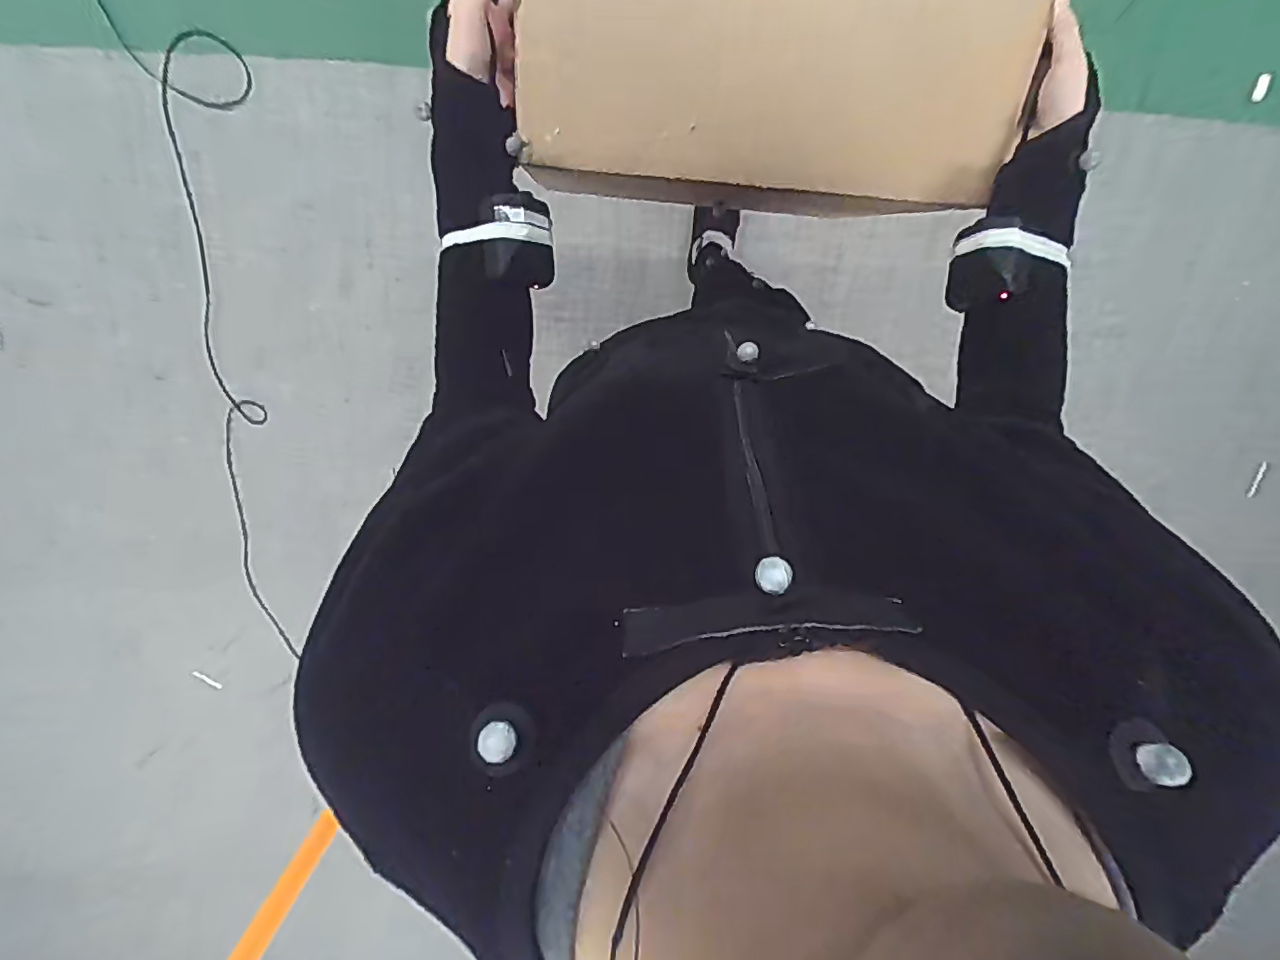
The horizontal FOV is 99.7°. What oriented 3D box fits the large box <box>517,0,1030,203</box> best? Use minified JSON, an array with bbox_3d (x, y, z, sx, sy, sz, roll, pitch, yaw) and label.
[{"bbox_3d":[0.100,-0.456,0.529,0.408,0.320,0.320,2,114,-6],"label":"large box"}]
